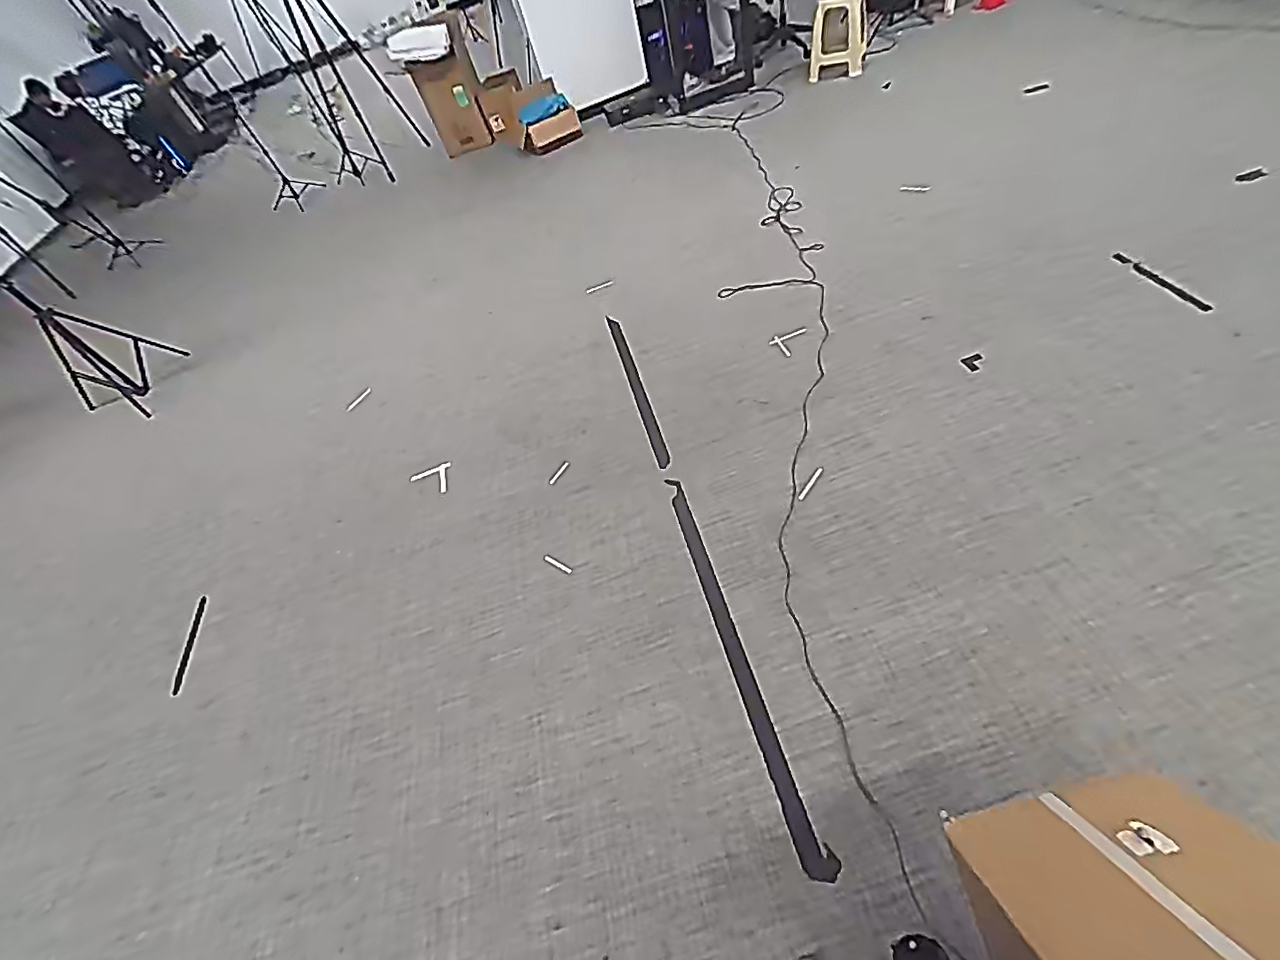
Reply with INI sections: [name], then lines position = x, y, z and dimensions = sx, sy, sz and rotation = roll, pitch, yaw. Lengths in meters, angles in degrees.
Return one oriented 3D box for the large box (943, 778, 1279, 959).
[large box]
position = 0.635, 0.622, 0.606
dimensions = 0.320, 0.408, 0.320
rotation = -18, 85, 5
